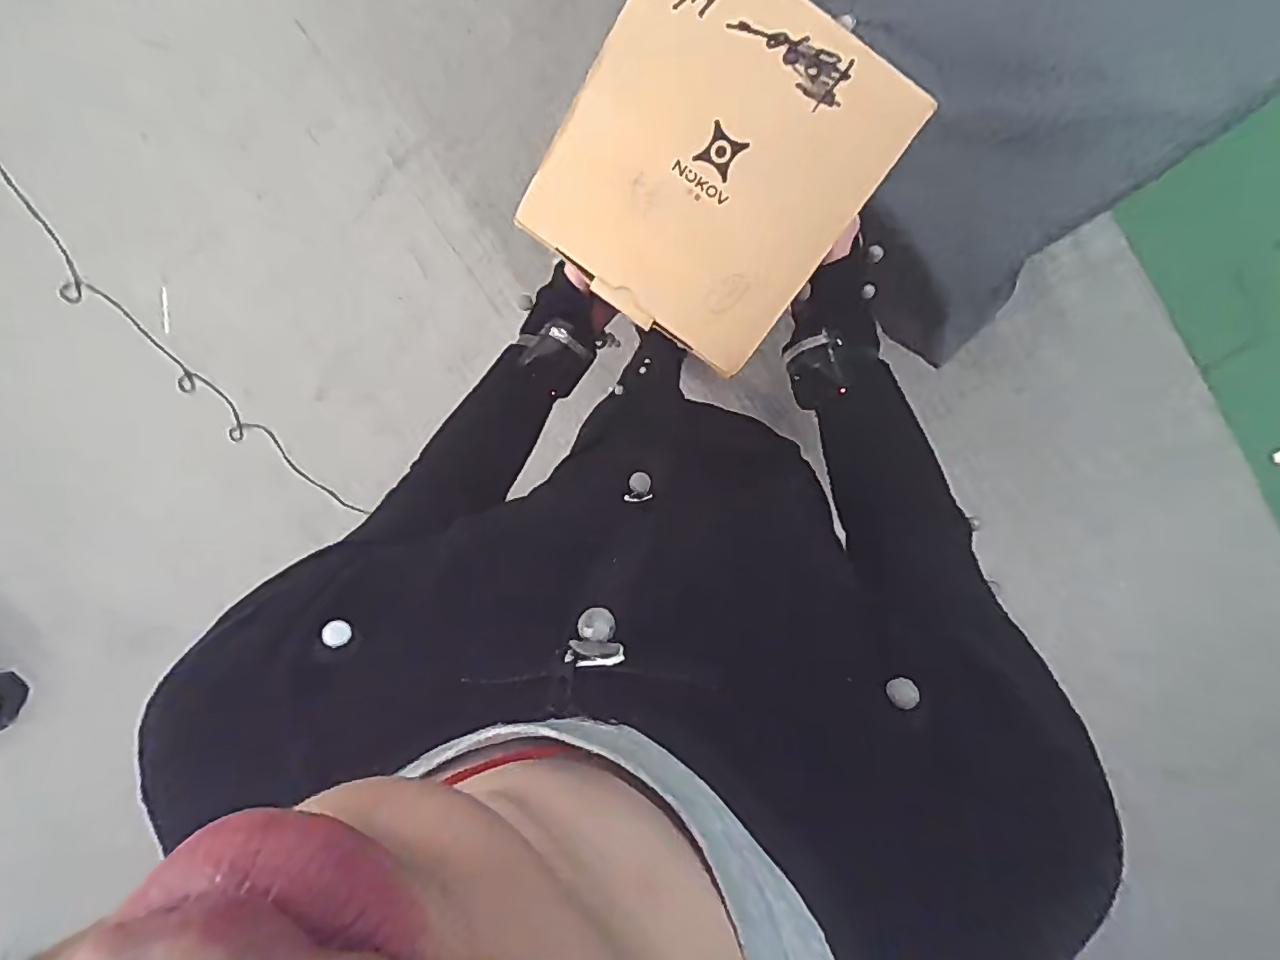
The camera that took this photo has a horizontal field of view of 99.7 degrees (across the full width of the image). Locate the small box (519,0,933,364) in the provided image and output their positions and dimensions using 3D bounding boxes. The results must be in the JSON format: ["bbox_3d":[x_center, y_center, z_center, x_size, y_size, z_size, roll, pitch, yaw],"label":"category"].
[{"bbox_3d":[0.051,-0.205,0.375,0.168,0.176,0.179,36,109,-4],"label":"small box"}]
